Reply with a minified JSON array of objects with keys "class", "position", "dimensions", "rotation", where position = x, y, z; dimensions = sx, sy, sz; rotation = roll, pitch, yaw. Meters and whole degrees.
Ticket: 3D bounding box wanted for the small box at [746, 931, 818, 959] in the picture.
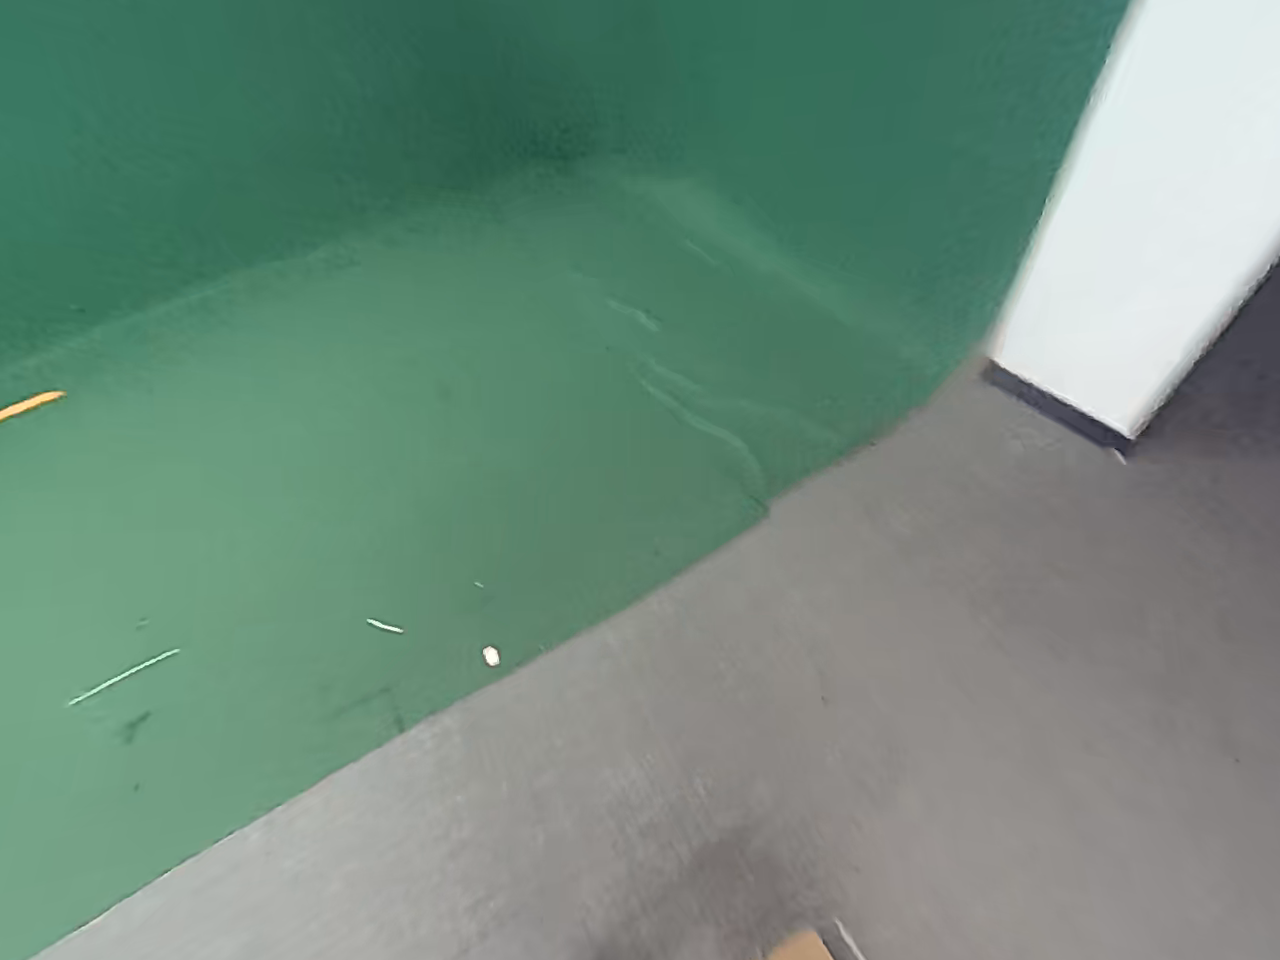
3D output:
[{"class":"small box","position":[0.248,0.913,0.928],"dimensions":[0.179,0.176,0.168],"rotation":[-27,51,-11]}]
